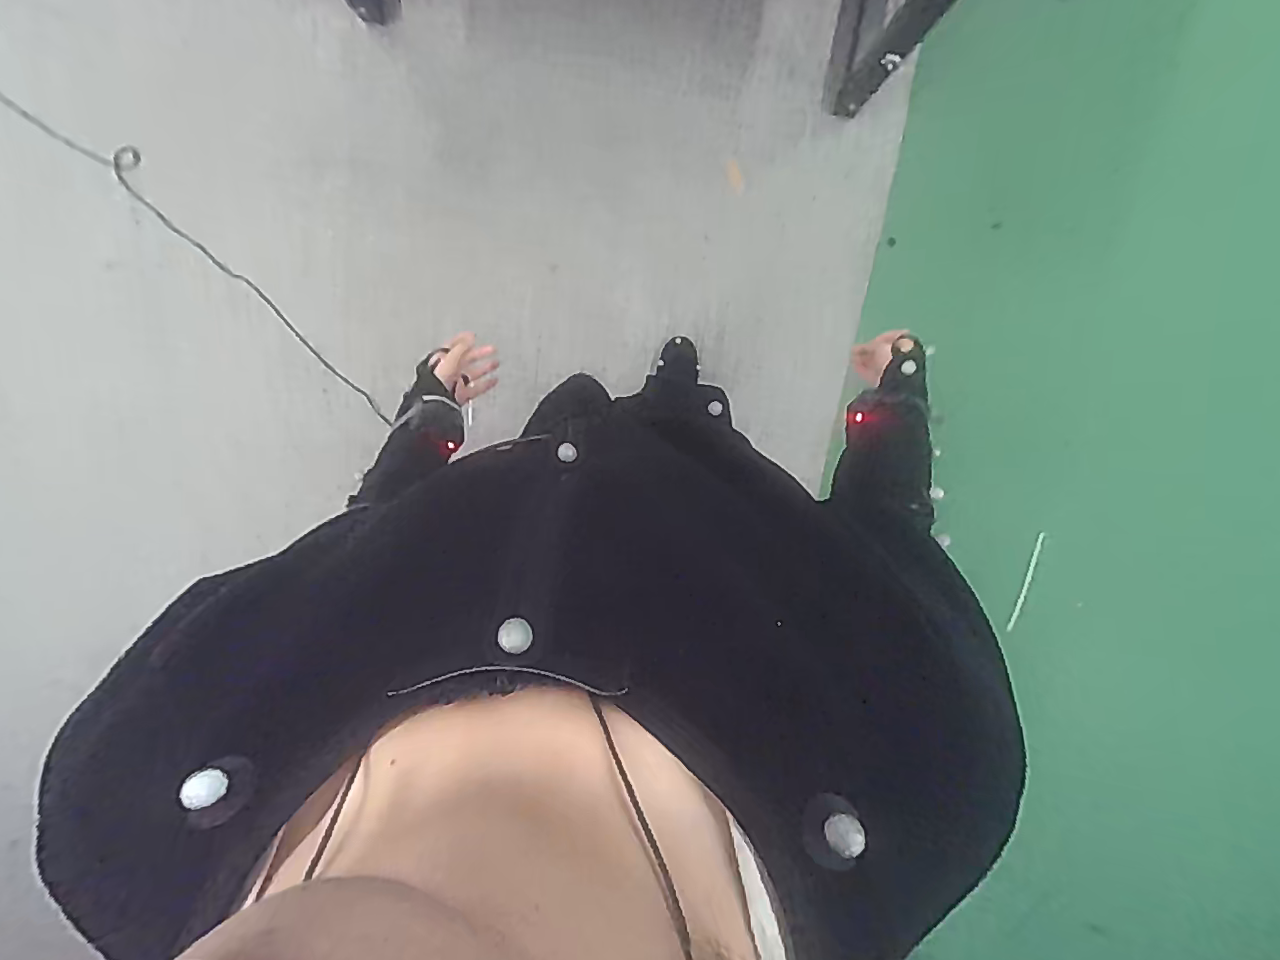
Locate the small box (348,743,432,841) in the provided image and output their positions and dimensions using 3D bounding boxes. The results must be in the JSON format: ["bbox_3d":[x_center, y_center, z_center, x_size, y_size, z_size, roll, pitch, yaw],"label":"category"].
[{"bbox_3d":[-0.748,0.935,1.634,0.168,0.176,0.179,16,103,-2],"label":"small box"}]
